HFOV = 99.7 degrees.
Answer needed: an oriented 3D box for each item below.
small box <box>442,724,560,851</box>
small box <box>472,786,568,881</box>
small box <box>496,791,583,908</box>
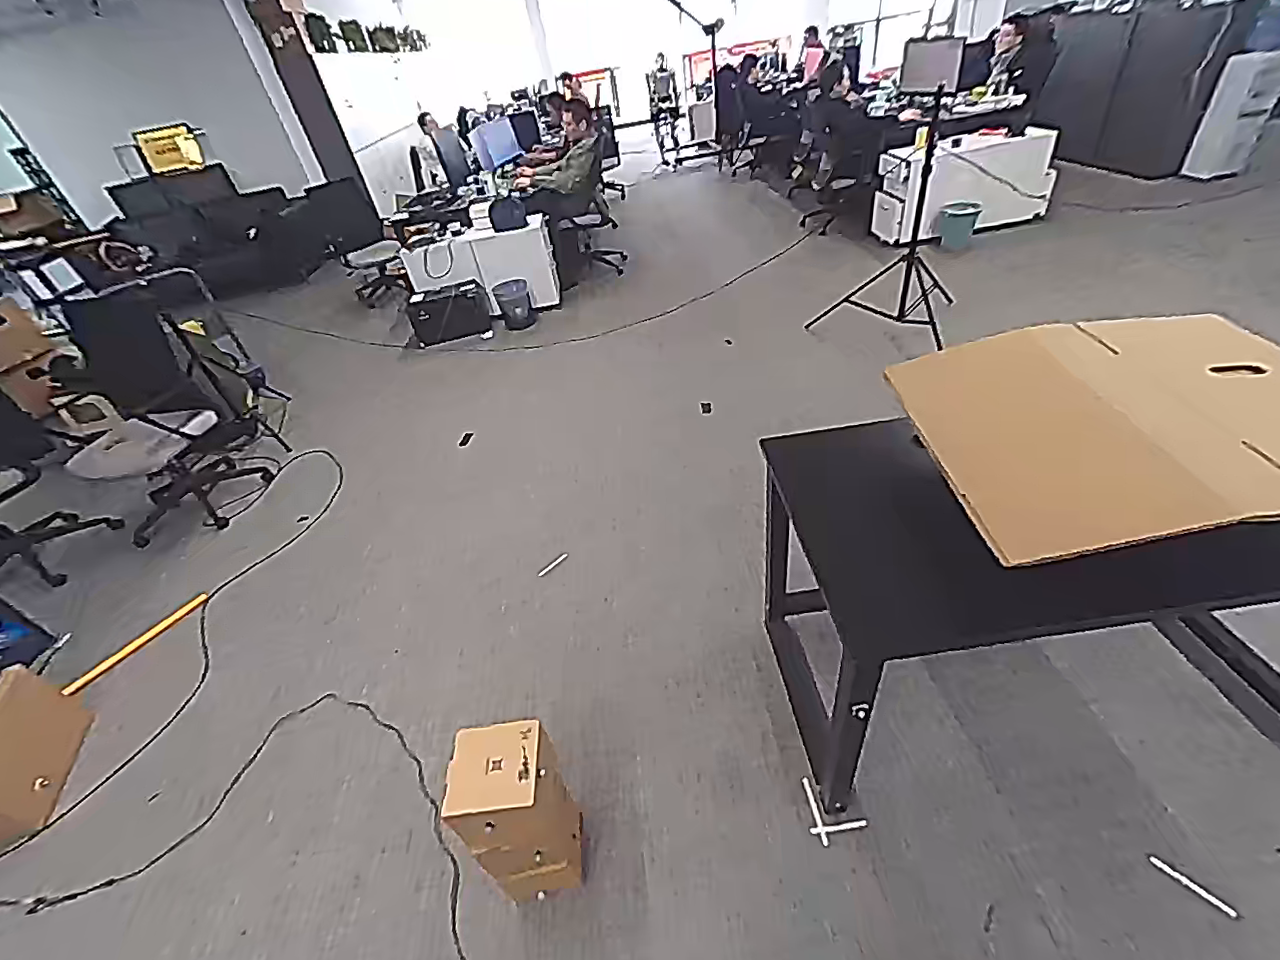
[{"bbox_3d":[-0.271,0.626,1.096,0.179,0.176,0.168,-9,38,2],"label":"small box"},{"bbox_3d":[-0.261,0.755,1.200,0.168,0.176,0.179,-13,37,-5],"label":"small box"},{"bbox_3d":[-0.235,0.883,1.294,0.168,0.176,0.179,-12,39,-1],"label":"small box"}]
